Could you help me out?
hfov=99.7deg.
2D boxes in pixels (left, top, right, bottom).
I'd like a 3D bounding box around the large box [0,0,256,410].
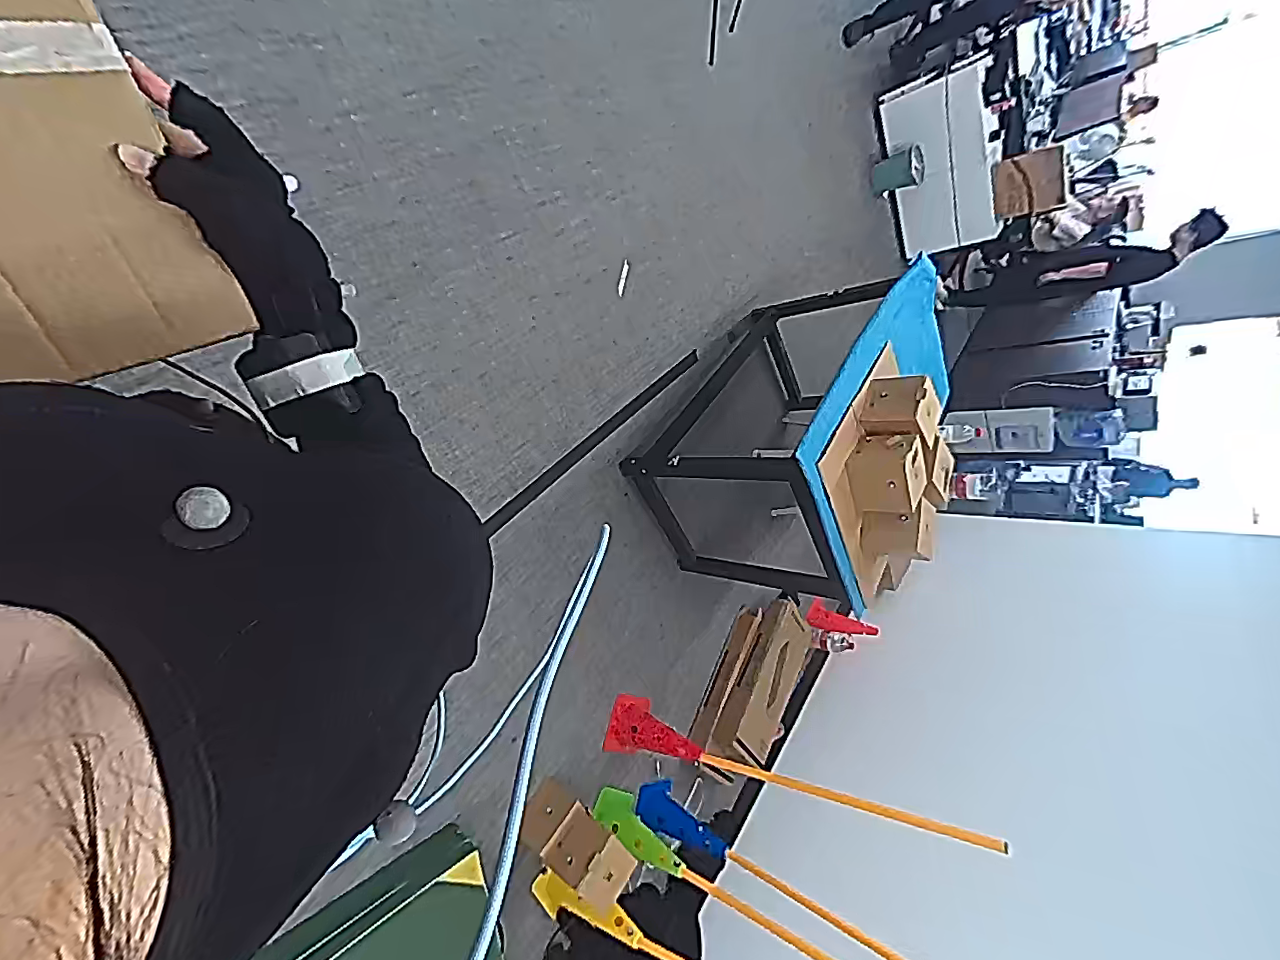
[{"bbox_3d":[-0.538,-0.177,0.306,0.408,0.320,0.320,-33,125,-34],"label":"large box"}]
